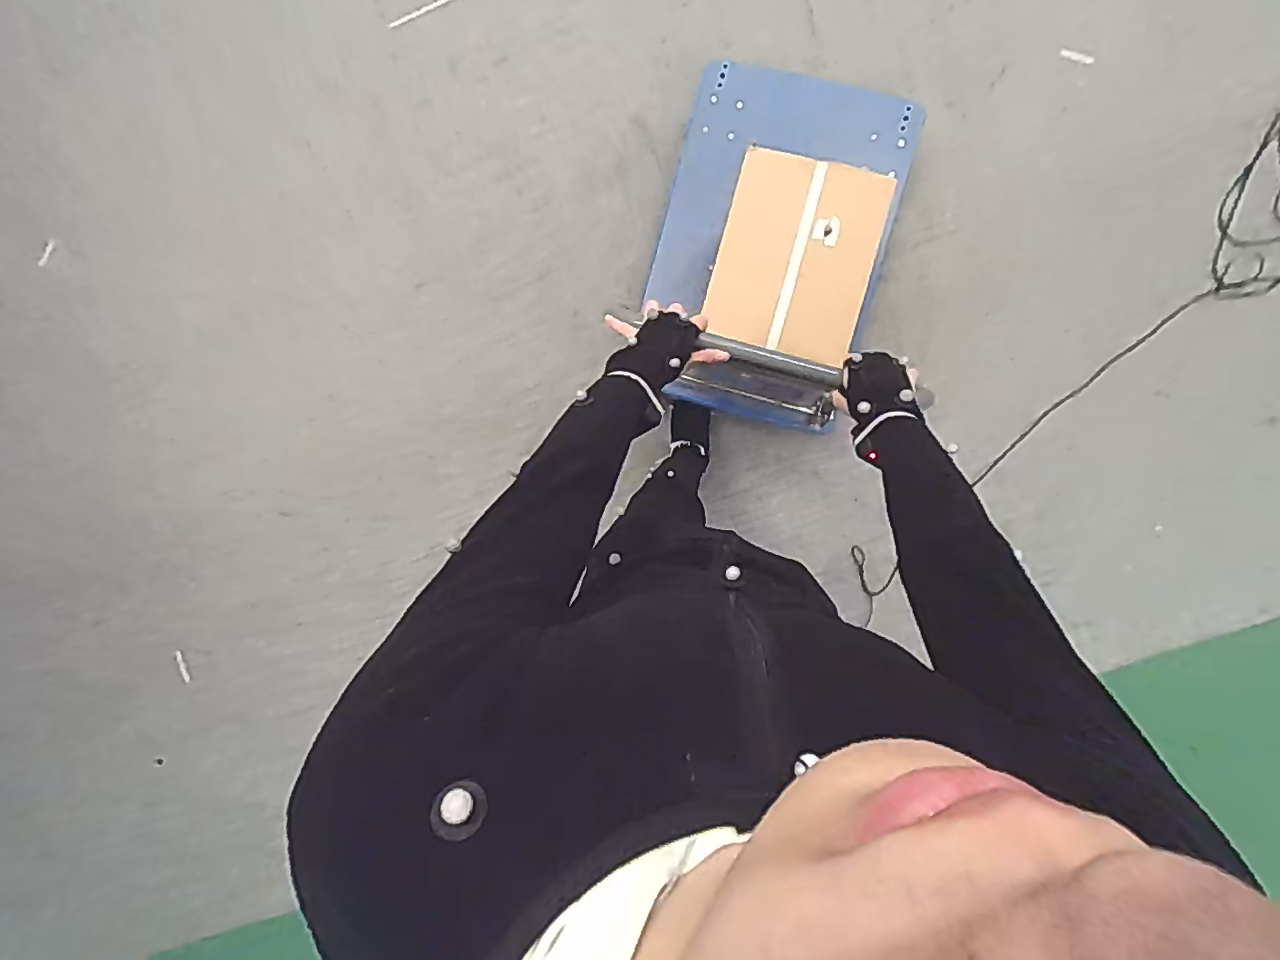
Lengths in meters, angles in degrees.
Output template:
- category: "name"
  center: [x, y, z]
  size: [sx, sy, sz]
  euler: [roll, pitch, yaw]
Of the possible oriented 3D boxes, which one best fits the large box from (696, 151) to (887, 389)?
- category: "large box"
  center: [0.327, -0.462, 1.275]
  size: [0.320, 0.320, 0.408]
  euler: [16, 92, 3]
